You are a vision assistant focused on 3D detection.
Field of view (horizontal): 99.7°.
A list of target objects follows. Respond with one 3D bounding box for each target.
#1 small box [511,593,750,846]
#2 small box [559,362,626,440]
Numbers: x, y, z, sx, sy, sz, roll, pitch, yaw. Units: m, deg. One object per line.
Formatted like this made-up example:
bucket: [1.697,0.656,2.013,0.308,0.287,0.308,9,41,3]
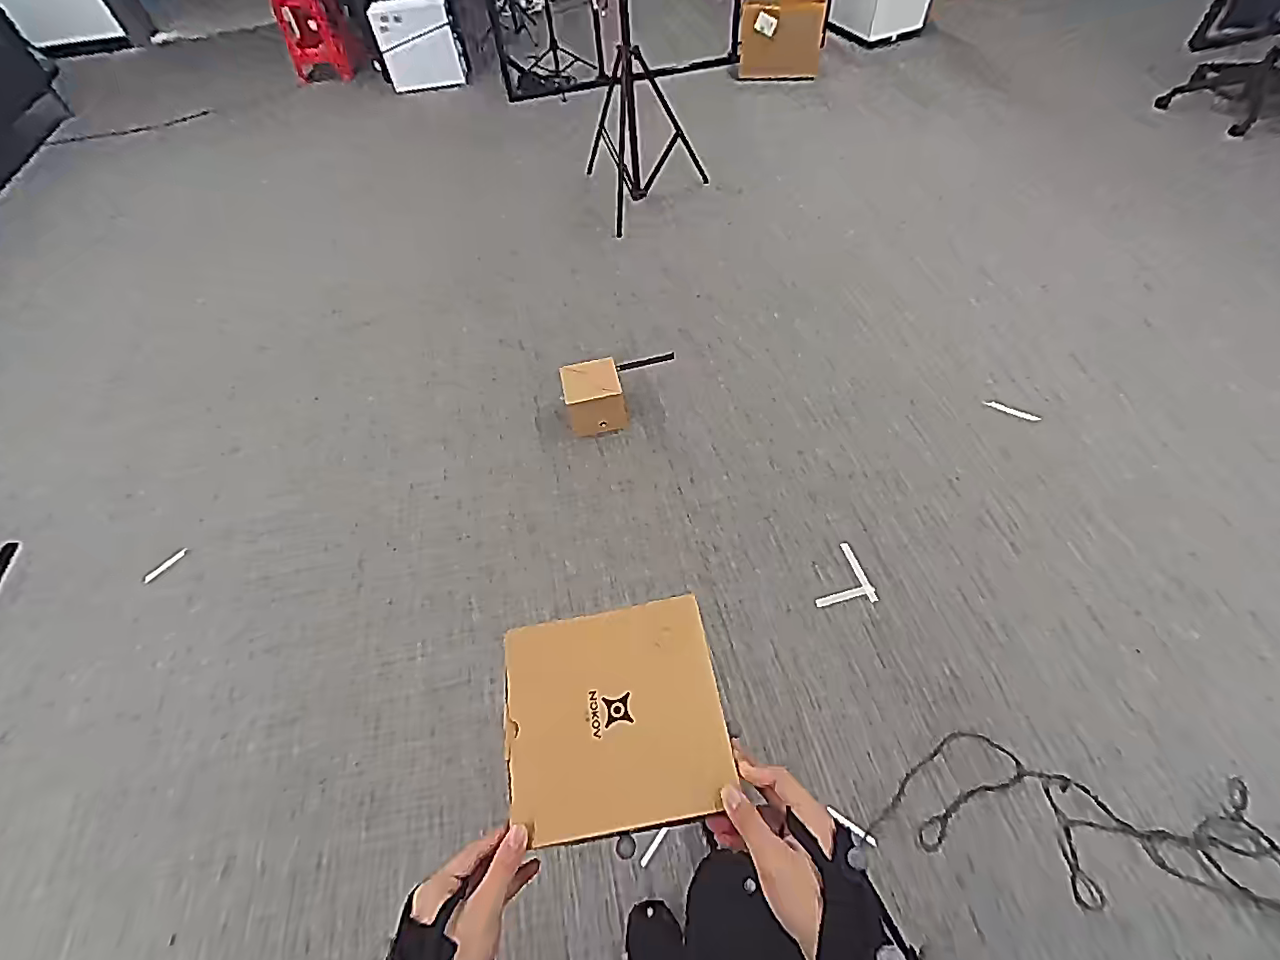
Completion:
small box: [-0.008,0.223,0.501,0.179,0.176,0.168,-12,57,1]
small box: [-0.151,-0.257,1.739,0.179,0.176,0.168,-12,55,-4]
